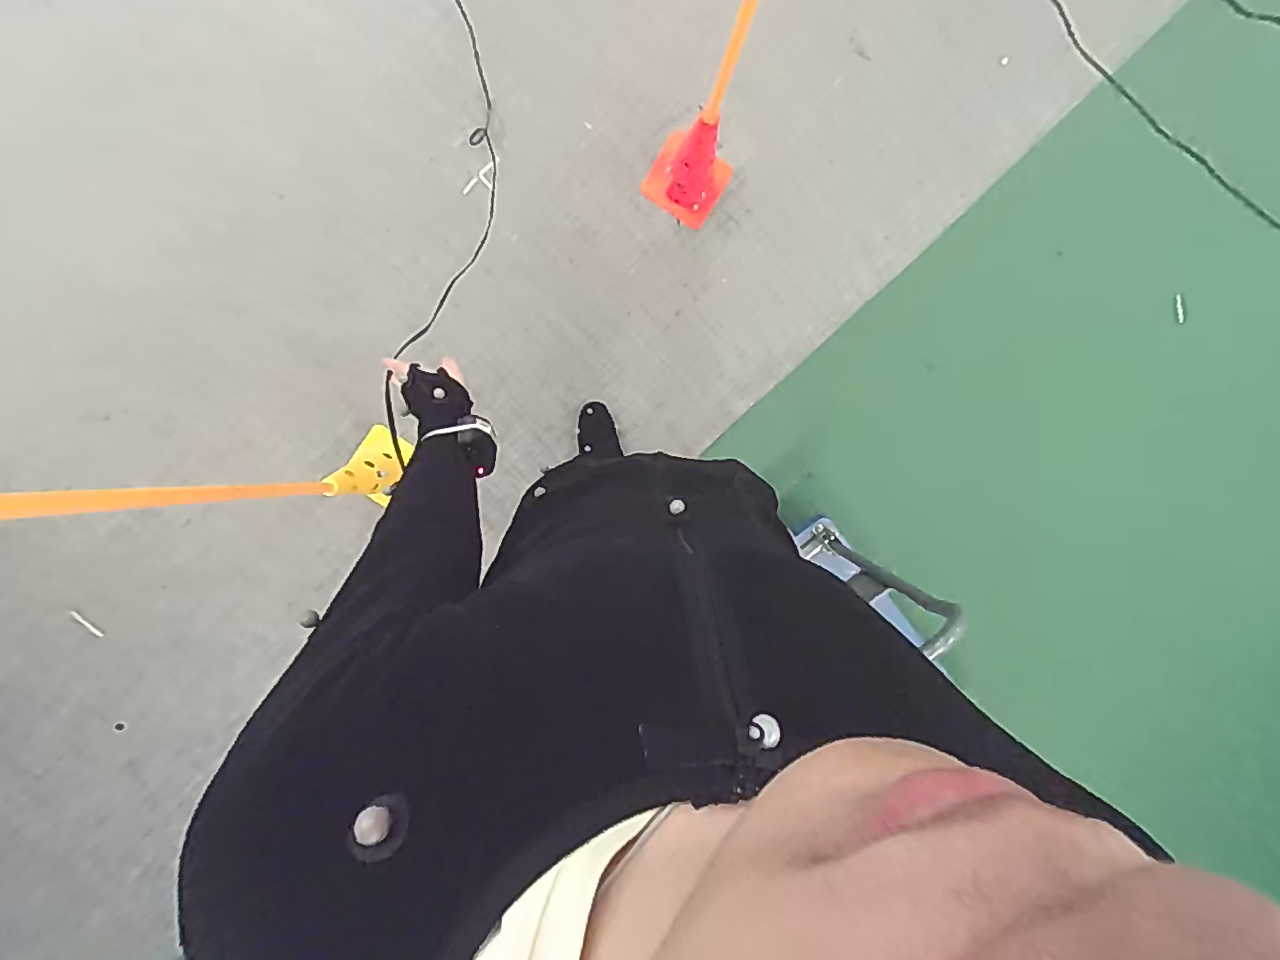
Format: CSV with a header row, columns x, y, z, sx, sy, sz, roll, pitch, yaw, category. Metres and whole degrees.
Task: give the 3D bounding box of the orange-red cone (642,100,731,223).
x,y,z,sx,sy,sz,roll,pitch,yaw,category
0.142,-0.821,1.332,0.198,0.360,0.199,32,94,-8,orange-red cone
